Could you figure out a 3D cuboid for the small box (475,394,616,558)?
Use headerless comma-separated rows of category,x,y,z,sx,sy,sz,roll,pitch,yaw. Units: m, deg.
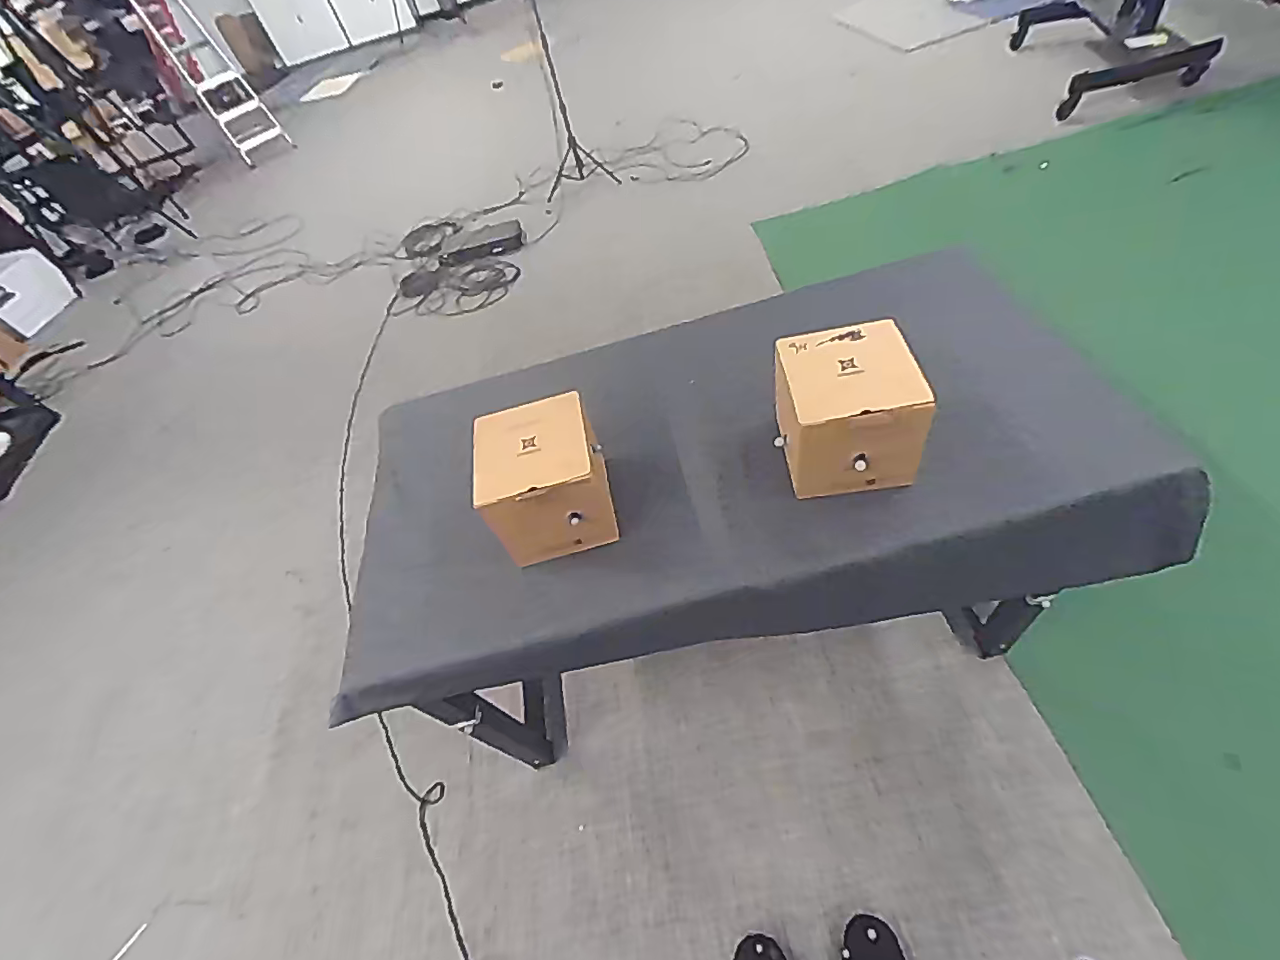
small box,-0.143,0.002,0.837,0.168,0.176,0.179,-16,50,1

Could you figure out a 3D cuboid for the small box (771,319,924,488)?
small box,0.291,-0.102,0.794,0.168,0.176,0.179,-9,53,9
